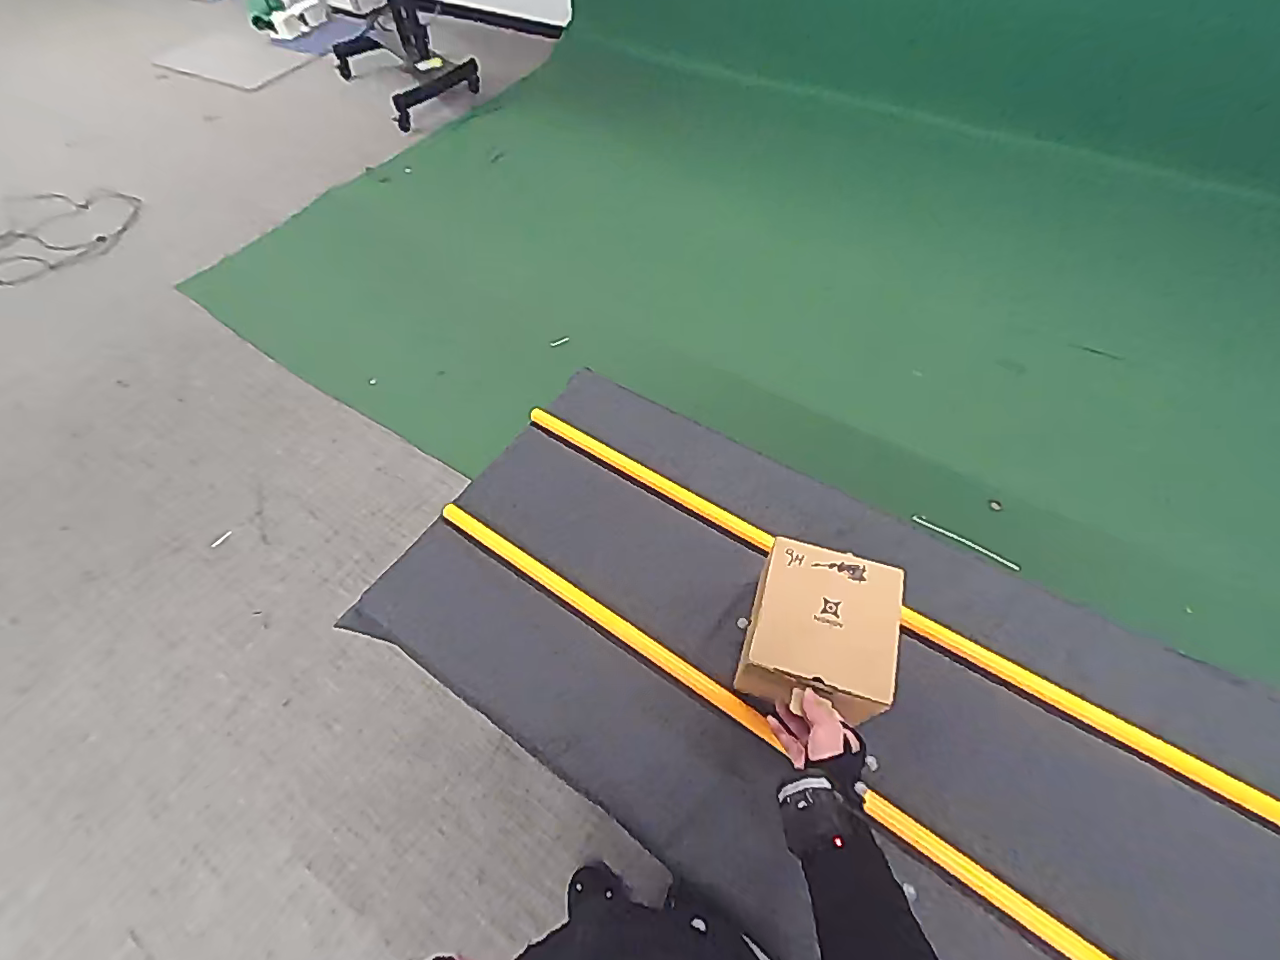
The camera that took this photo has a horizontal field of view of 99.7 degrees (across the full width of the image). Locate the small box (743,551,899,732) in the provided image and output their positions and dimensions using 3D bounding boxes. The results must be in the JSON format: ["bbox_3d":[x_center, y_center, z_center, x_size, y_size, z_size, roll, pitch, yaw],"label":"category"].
[{"bbox_3d":[0.237,0.224,0.734,0.168,0.176,0.179,11,58,12],"label":"small box"}]
